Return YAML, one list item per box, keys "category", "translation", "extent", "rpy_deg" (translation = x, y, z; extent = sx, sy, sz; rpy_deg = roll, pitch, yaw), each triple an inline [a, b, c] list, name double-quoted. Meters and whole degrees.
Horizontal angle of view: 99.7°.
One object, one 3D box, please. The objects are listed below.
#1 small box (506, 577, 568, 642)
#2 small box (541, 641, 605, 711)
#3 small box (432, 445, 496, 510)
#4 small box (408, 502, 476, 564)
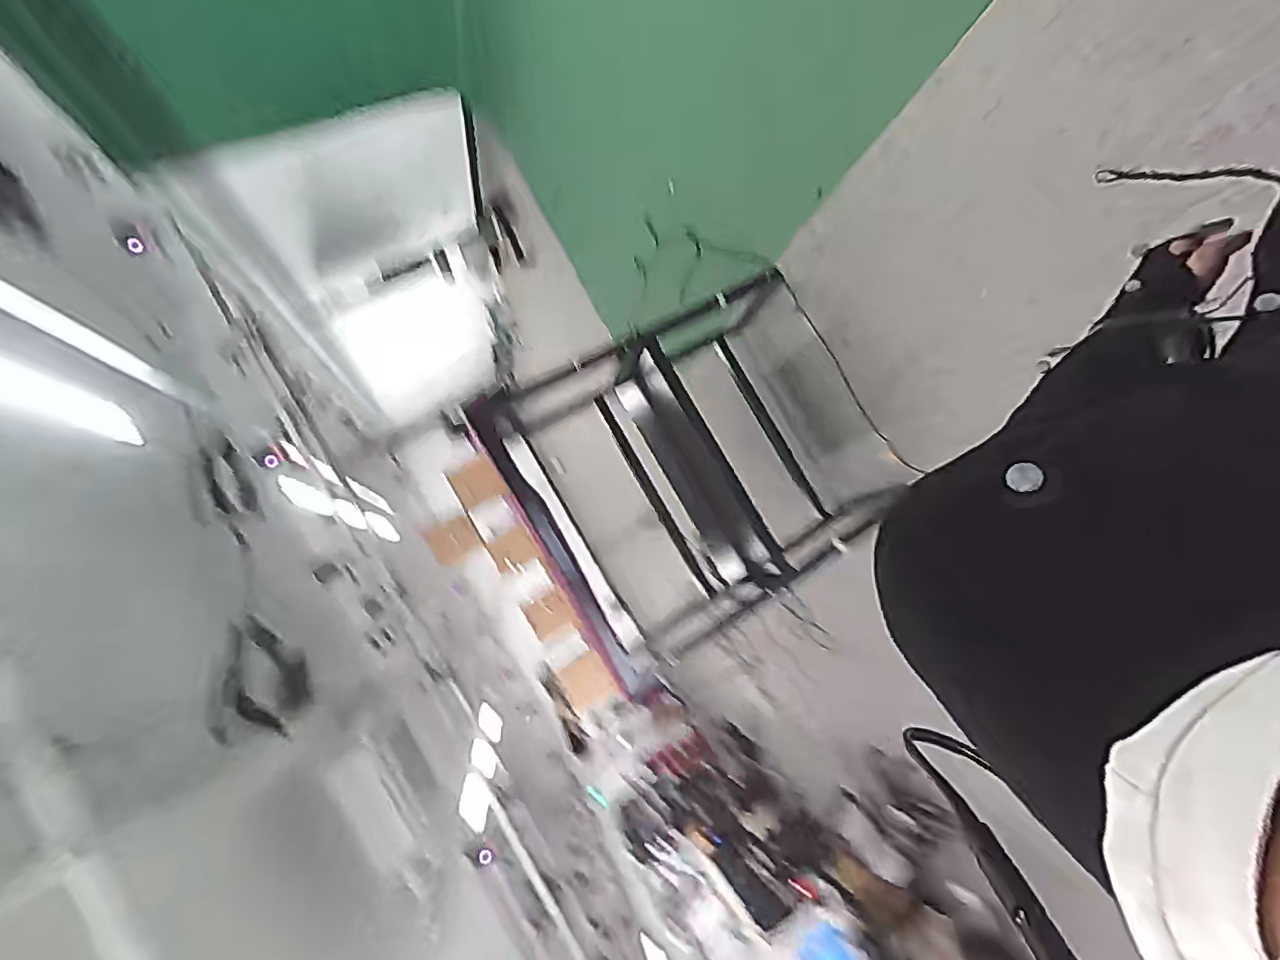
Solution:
- category: "small box"
  translation: [-0.381, 0.474, 2.006]
  extent: [0.168, 0.176, 0.179]
  rpy_deg: [62, 165, 1]
- category: "small box"
  translation: [-0.248, 0.713, 1.990]
  extent: [0.179, 0.176, 0.168]
  rpy_deg: [61, 164, 5]
- category: "small box"
  translation: [-0.651, -0.008, 2.028]
  extent: [0.179, 0.176, 0.168]
  rpy_deg: [61, 164, 2]
- category: "small box"
  translation: [-0.720, 0.195, 1.982]
  extent: [0.168, 0.176, 0.179]
  rpy_deg: [61, 165, 4]
